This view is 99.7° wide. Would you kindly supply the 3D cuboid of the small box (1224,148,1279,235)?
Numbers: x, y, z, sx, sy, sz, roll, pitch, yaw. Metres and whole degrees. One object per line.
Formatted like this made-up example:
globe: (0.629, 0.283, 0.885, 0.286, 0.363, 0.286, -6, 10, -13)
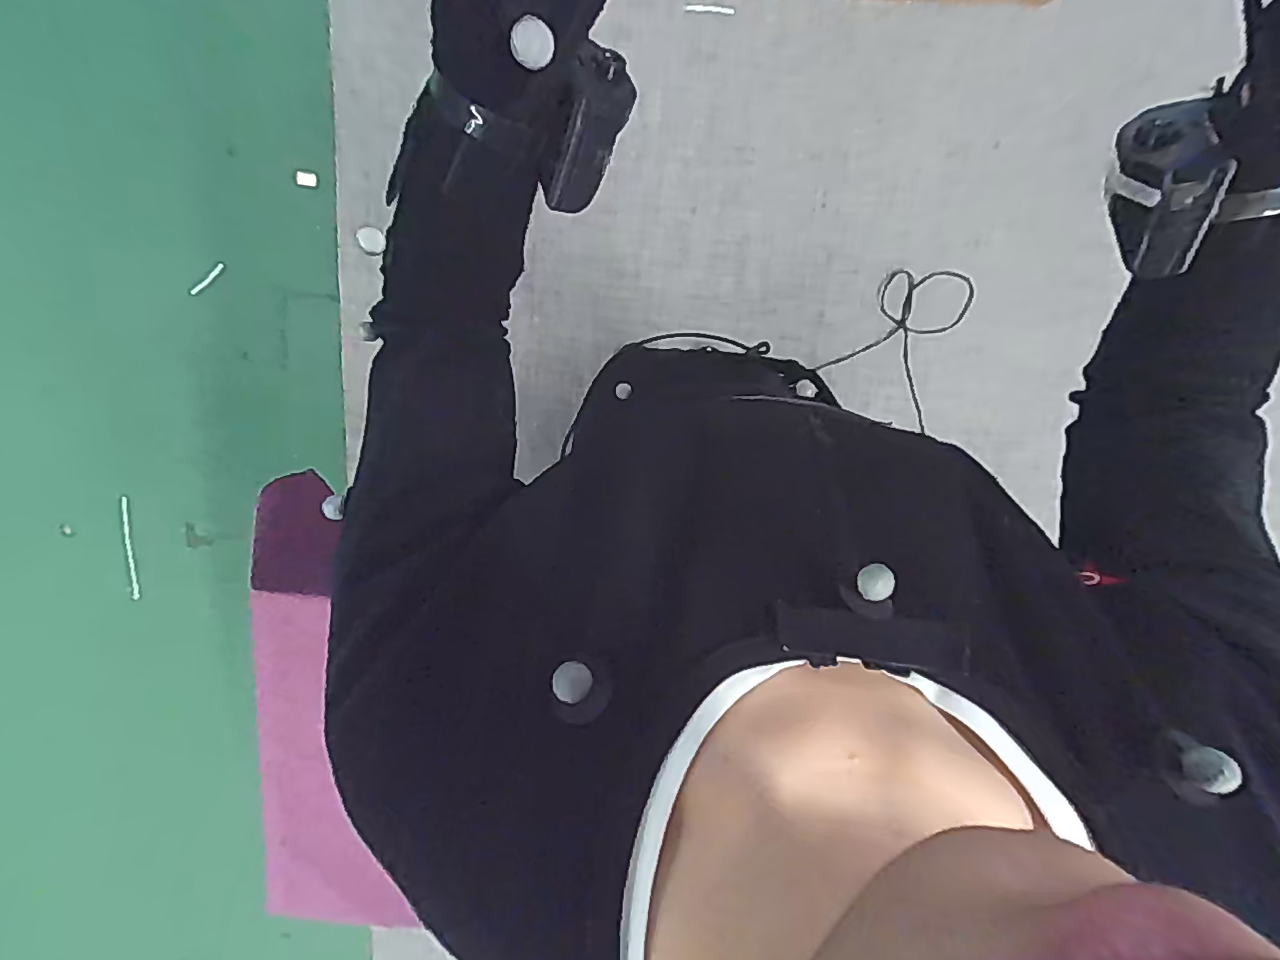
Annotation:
small box: (1.484, -0.649, 1.196, 0.179, 0.176, 0.168, 5, 103, 1)
